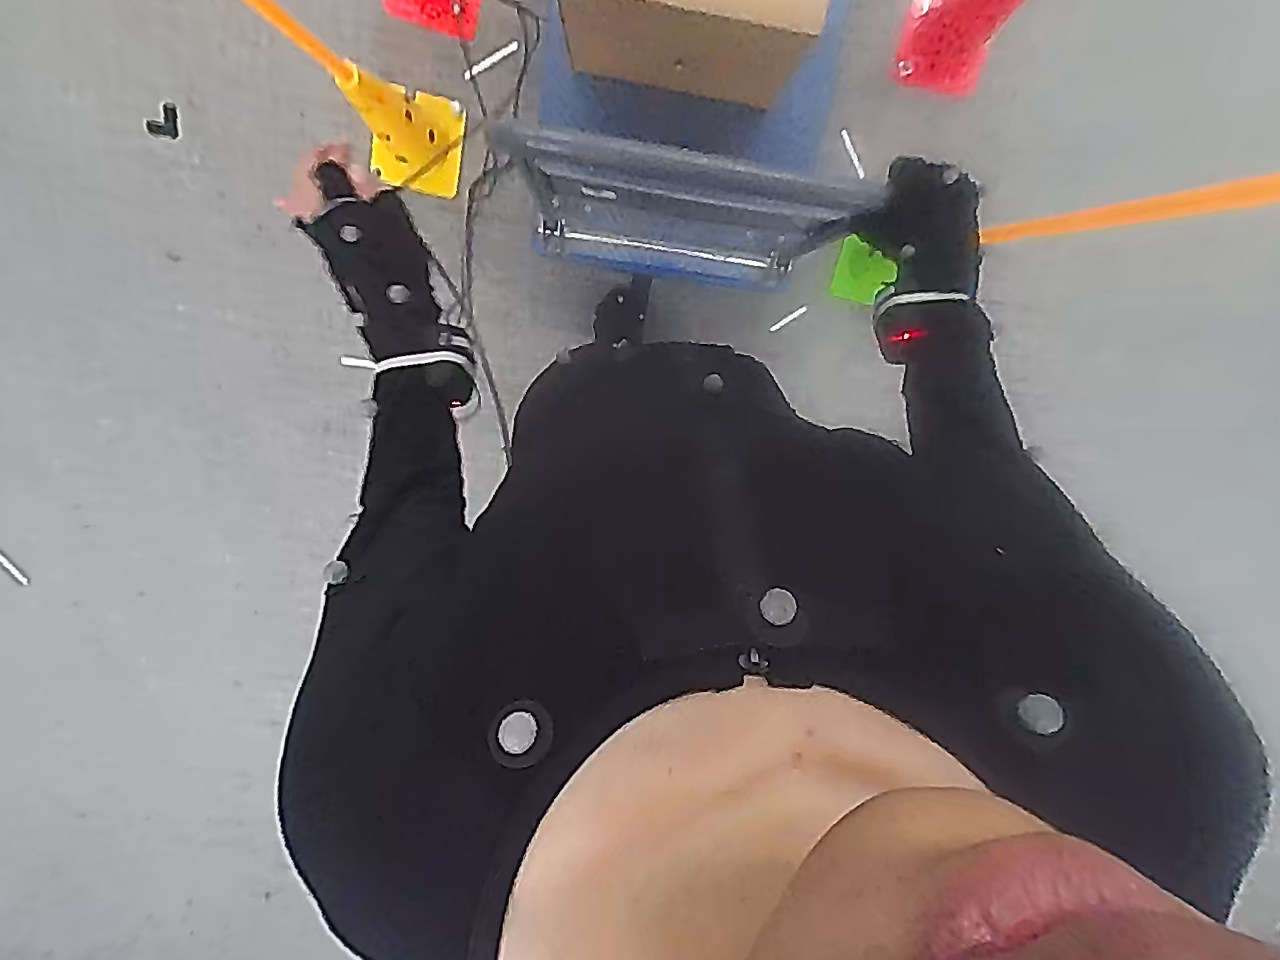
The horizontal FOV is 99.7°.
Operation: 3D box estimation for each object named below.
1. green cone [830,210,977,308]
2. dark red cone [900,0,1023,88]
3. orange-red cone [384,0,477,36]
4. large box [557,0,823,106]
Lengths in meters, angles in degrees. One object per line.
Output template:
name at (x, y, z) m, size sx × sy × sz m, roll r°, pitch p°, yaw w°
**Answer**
green cone at (0.598, -0.500, 1.183) m, size 0.202 × 0.368 × 0.200 m, roll 12°, pitch 105°, yaw -7°
dark red cone at (0.699, -0.953, 1.040) m, size 0.201 × 0.394 × 0.202 m, roll 8°, pitch 106°, yaw -6°
orange-red cone at (-0.430, -1.045, 0.991) m, size 0.198 × 0.360 × 0.199 m, roll 16°, pitch 103°, yaw -8°
large box at (0.090, -0.881, 0.908) m, size 0.408 × 0.320 × 0.320 m, roll 8°, pitch 106°, yaw -4°
